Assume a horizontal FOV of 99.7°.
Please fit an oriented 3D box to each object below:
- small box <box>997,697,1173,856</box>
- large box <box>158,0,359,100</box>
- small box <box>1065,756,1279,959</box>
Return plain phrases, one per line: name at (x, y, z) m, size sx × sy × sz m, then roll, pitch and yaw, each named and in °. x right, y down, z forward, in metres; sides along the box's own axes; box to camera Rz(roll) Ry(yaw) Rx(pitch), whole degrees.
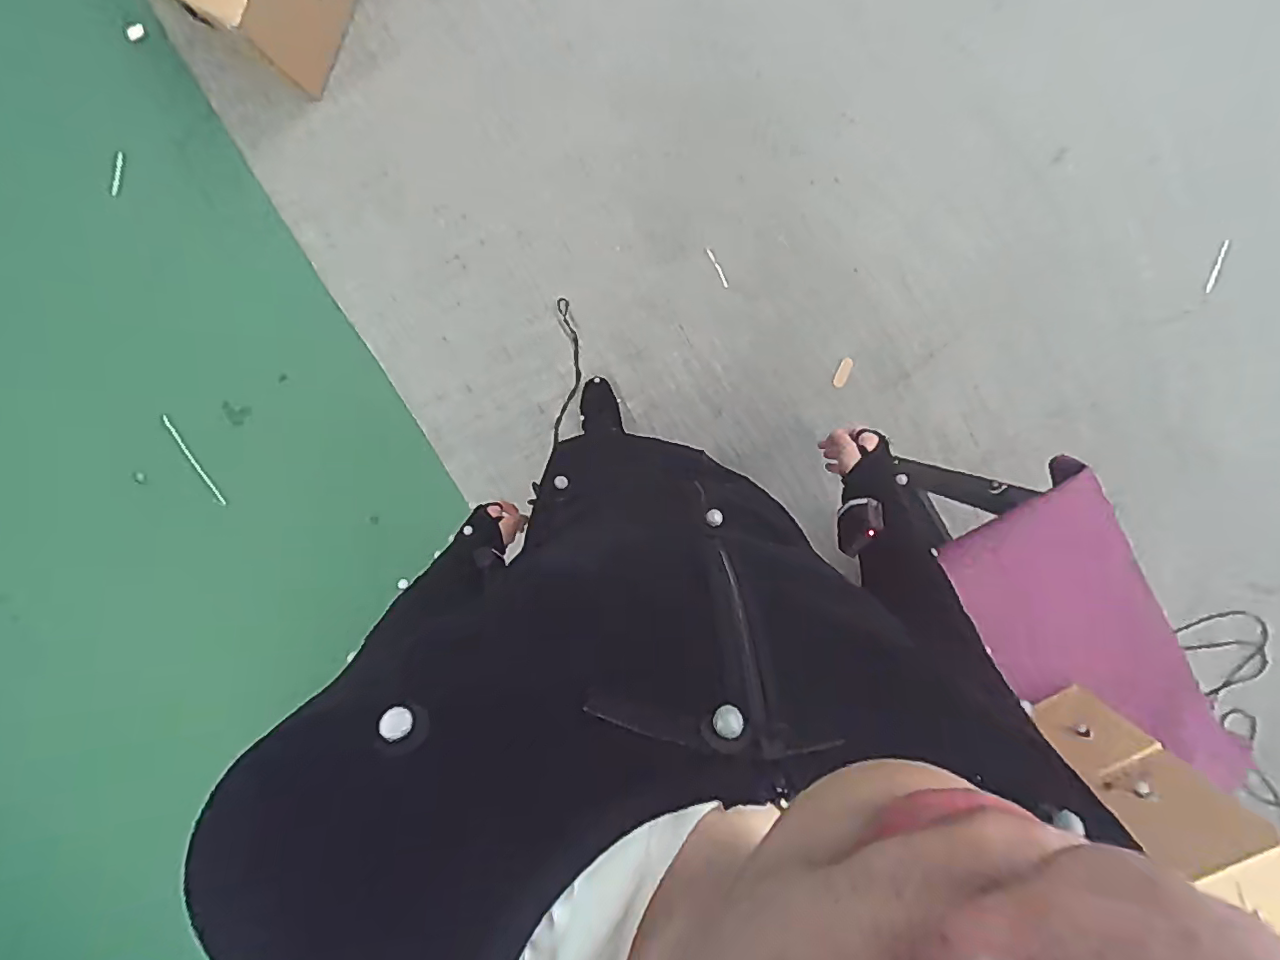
small box at (0.730, 0.482, 0.874) m, size 0.168 × 0.176 × 0.179 m, roll -32°, pitch 97°, yaw 5°
large box at (-0.920, -1.255, 1.301) m, size 0.320 × 0.320 × 0.408 m, roll 27°, pitch 99°, yaw -2°
small box at (0.723, 0.513, 0.712) m, size 0.168 × 0.176 × 0.179 m, roll -28°, pitch 97°, yaw 4°
